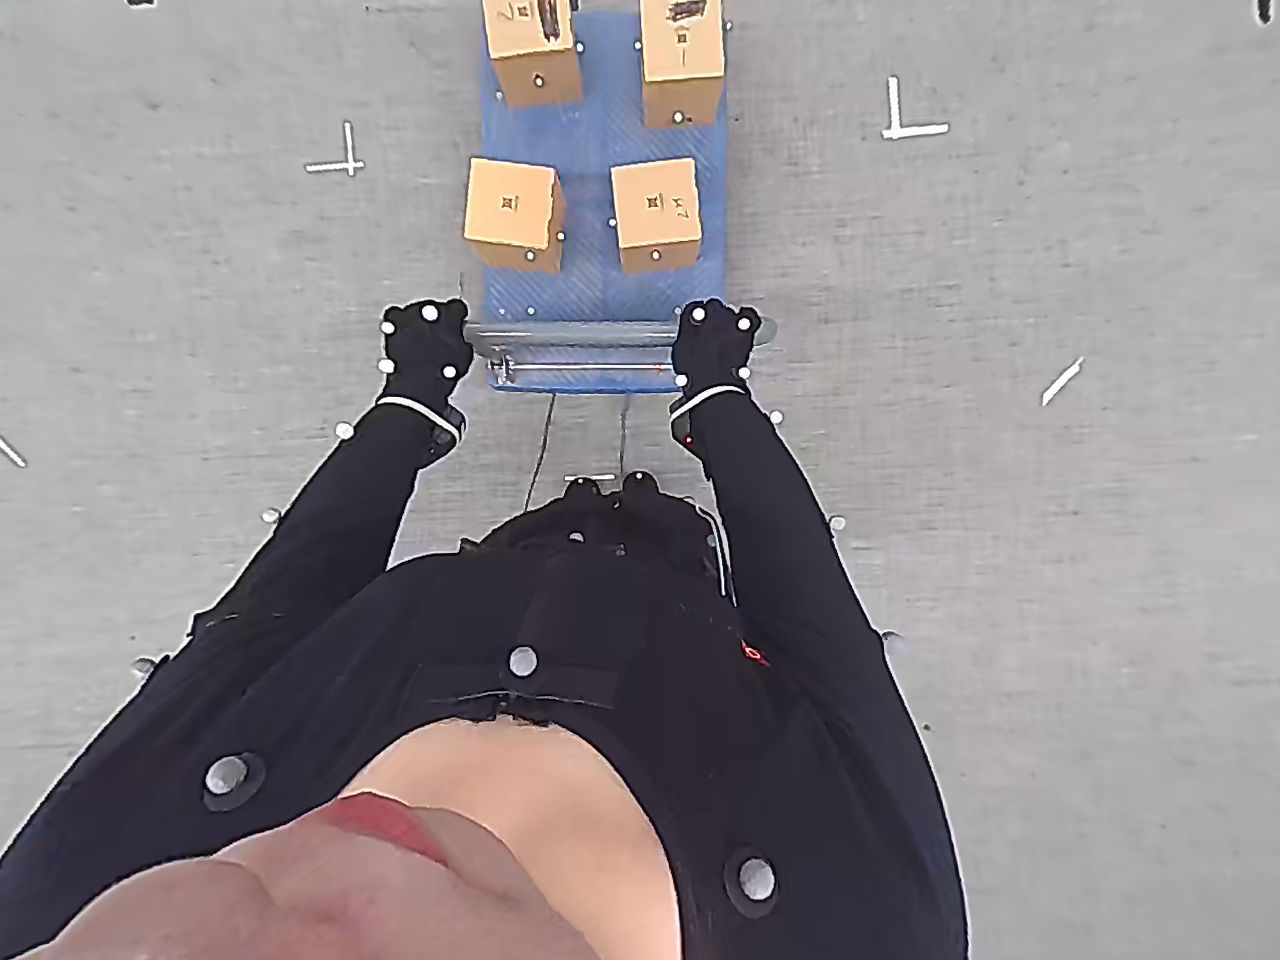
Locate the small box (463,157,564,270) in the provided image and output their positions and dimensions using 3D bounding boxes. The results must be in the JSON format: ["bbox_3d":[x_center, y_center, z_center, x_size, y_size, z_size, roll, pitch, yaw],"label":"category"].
[{"bbox_3d":[-0.271,-0.579,1.193,0.179,0.176,0.168,6,93,-2],"label":"small box"}]

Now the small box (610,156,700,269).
[{"bbox_3d":[0.033,-0.579,1.191,0.179,0.176,0.168,-6,94,1],"label":"small box"}]

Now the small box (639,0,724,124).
[{"bbox_3d":[0.084,-0.912,1.169,0.168,0.176,0.179,-4,95,1],"label":"small box"}]
